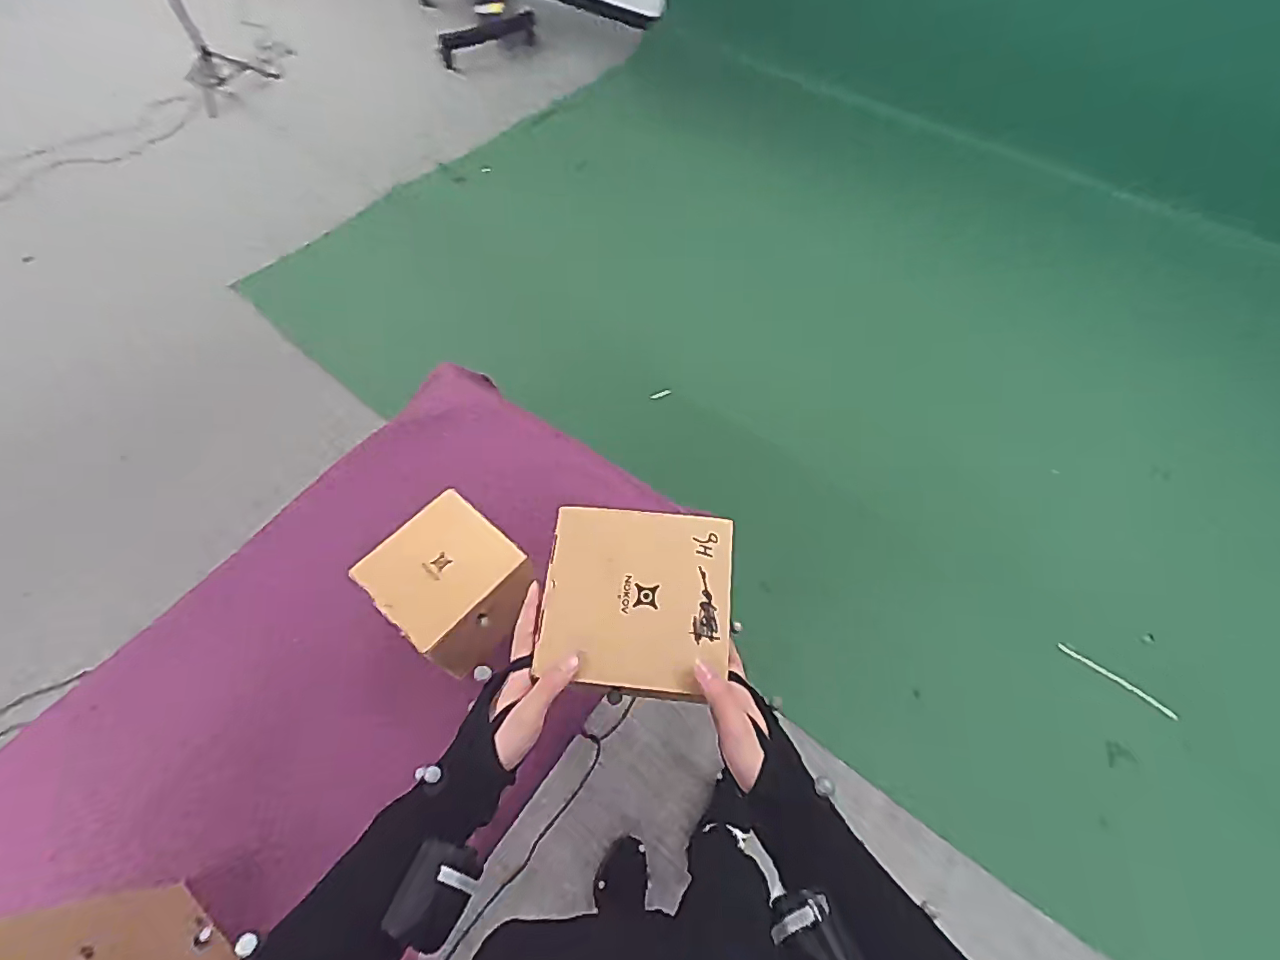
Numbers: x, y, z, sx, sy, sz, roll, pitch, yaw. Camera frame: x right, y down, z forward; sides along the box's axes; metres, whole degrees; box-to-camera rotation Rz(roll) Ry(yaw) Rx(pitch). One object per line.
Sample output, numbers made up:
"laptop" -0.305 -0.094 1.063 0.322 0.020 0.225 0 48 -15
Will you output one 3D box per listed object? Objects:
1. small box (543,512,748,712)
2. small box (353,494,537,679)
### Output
"small box" 0.013 0.147 0.574 0.179 0.176 0.168 6 65 5
"small box" -0.268 0.160 0.791 0.168 0.176 0.179 38 66 18
